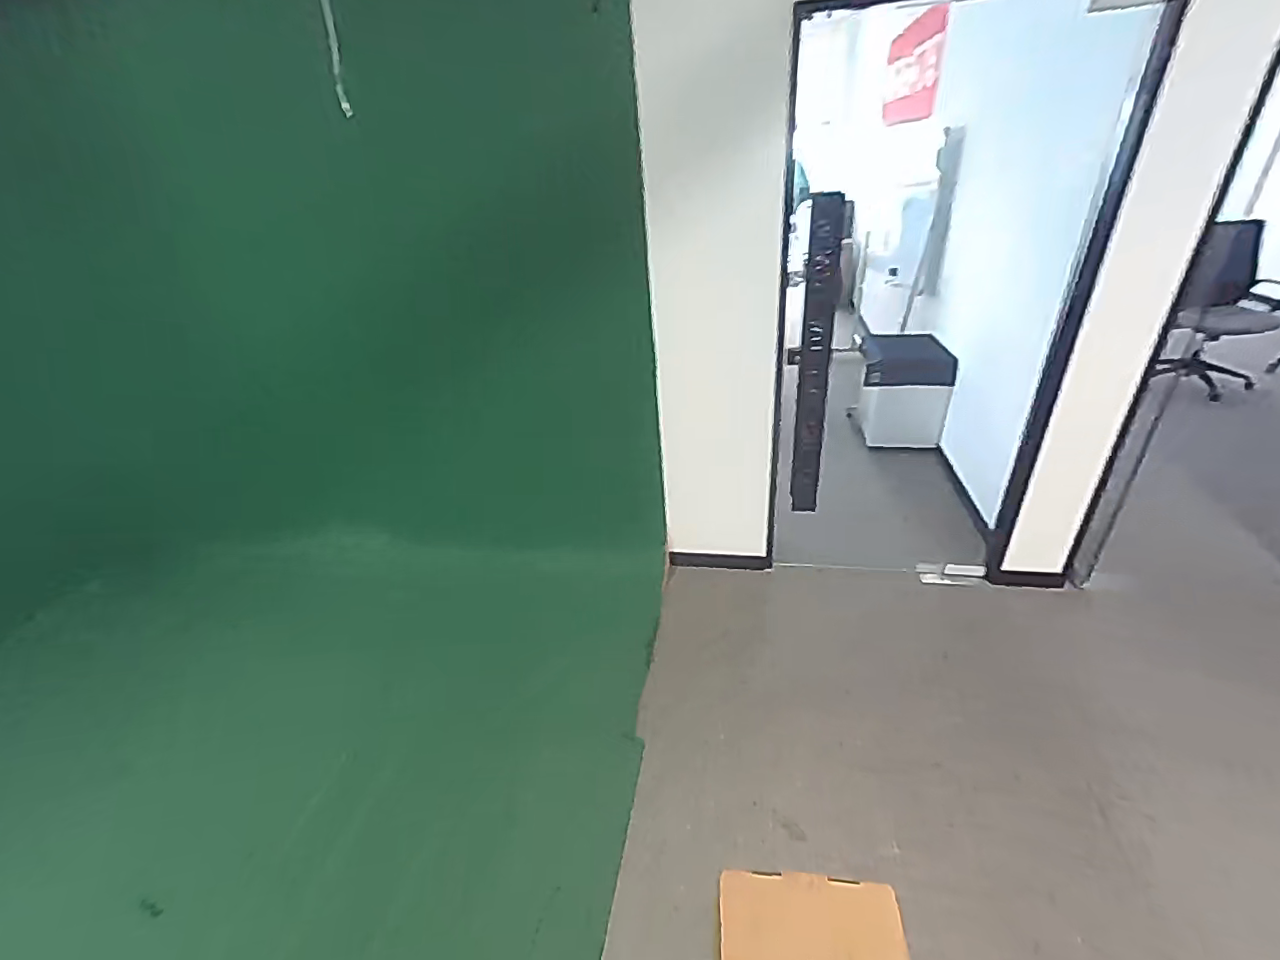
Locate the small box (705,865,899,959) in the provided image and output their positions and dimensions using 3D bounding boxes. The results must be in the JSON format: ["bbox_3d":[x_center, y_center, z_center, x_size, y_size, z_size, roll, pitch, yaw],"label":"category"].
[{"bbox_3d":[0.147,0.501,0.513,0.168,0.176,0.179,1,41,6],"label":"small box"}]
